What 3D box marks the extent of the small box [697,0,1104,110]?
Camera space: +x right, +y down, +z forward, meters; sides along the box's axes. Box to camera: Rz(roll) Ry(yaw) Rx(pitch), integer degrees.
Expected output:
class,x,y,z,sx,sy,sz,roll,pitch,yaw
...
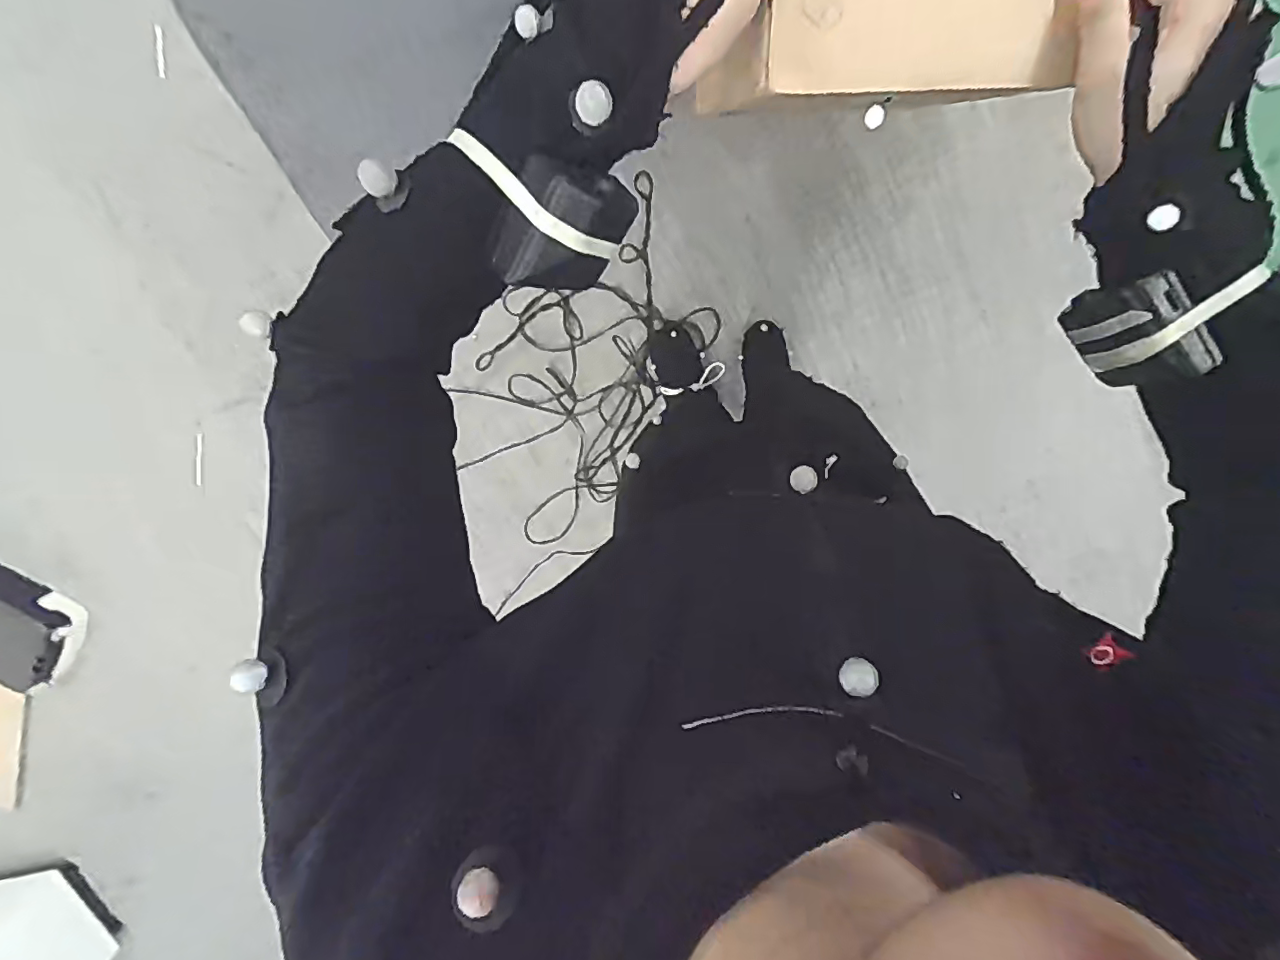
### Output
class,x,y,z,sx,sy,sz,roll,pitch,yaw
small box,0.133,-0.312,0.303,0.179,0.176,0.168,-5,122,-6
